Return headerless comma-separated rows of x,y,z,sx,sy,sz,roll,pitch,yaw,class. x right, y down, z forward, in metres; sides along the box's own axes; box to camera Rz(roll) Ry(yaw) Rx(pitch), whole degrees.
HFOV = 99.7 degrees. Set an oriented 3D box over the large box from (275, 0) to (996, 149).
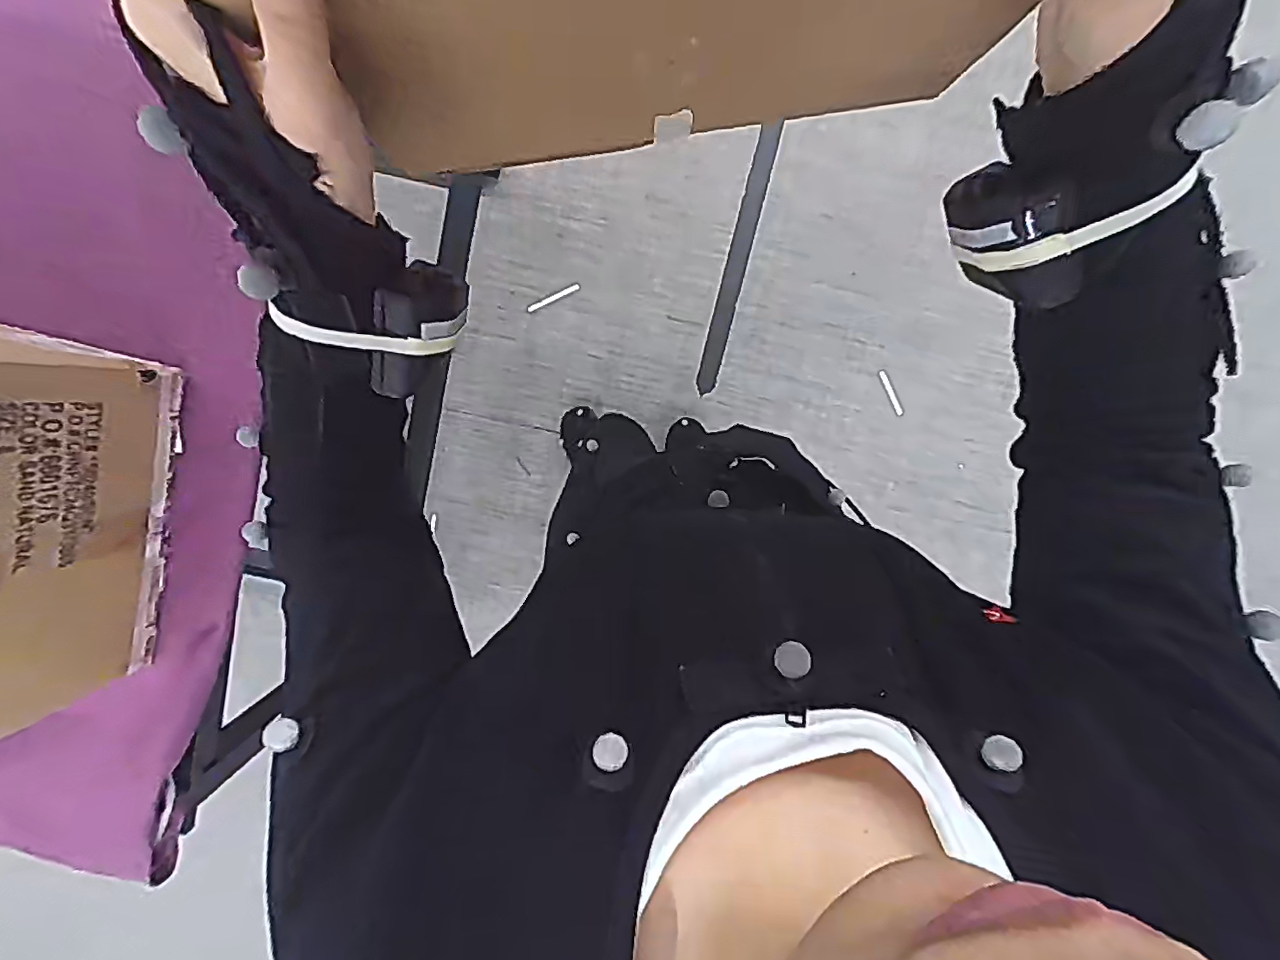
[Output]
-0.011,-0.375,0.129,0.320,0.320,0.408,-7,101,4,large box
